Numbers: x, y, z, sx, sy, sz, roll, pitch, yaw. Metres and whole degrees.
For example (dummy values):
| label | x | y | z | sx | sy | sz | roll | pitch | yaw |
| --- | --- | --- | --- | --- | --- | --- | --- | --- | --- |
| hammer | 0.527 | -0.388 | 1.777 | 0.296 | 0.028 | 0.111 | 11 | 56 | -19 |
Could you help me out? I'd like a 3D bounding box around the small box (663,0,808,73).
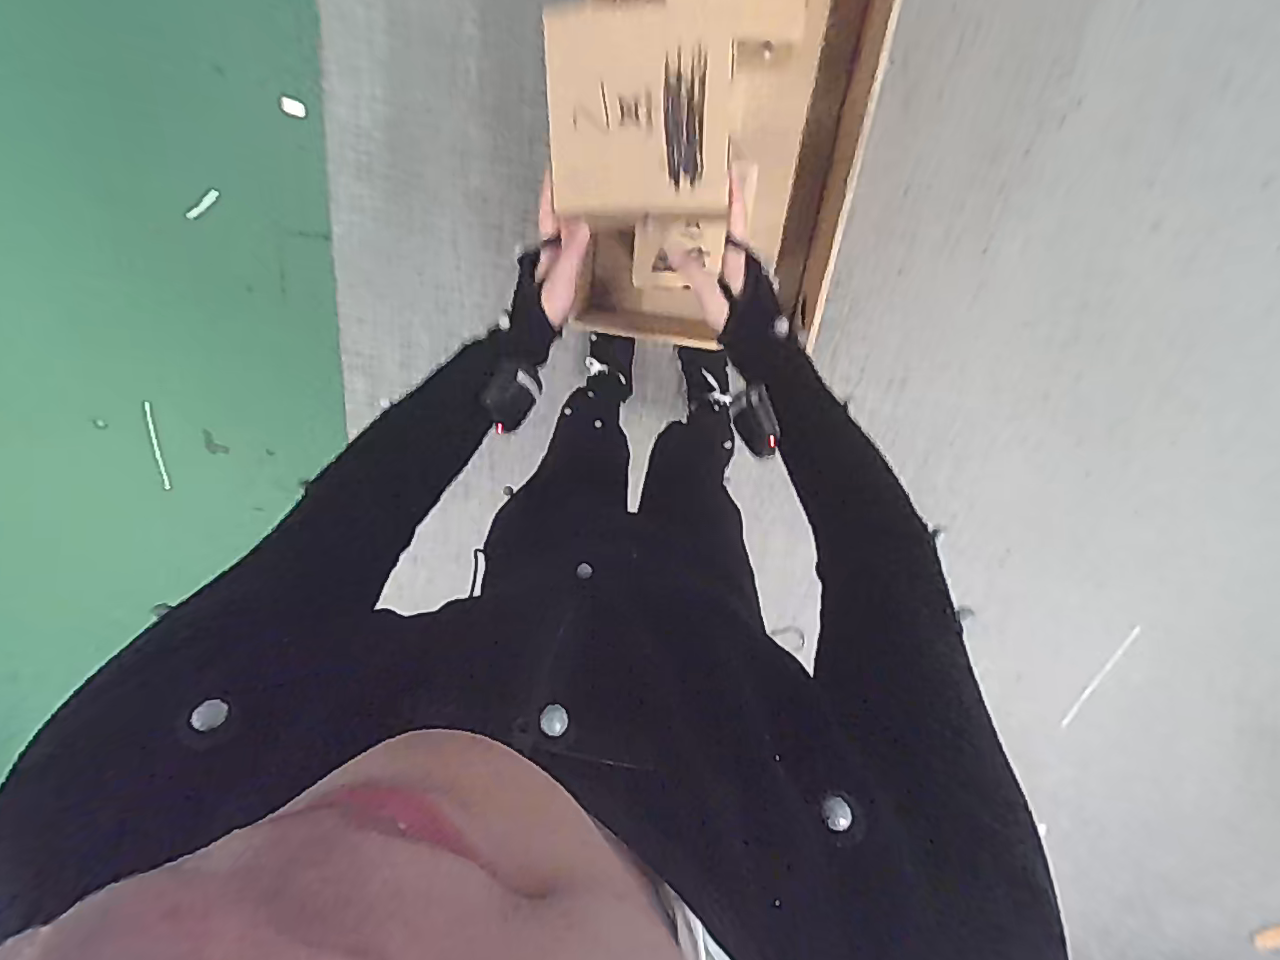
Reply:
| label | x | y | z | sx | sy | sz | roll | pitch | yaw |
| --- | --- | --- | --- | --- | --- | --- | --- | --- | --- |
| small box | 0.128 | -0.660 | 0.714 | 0.179 | 0.176 | 0.168 | 5 | 116 | 3 |
